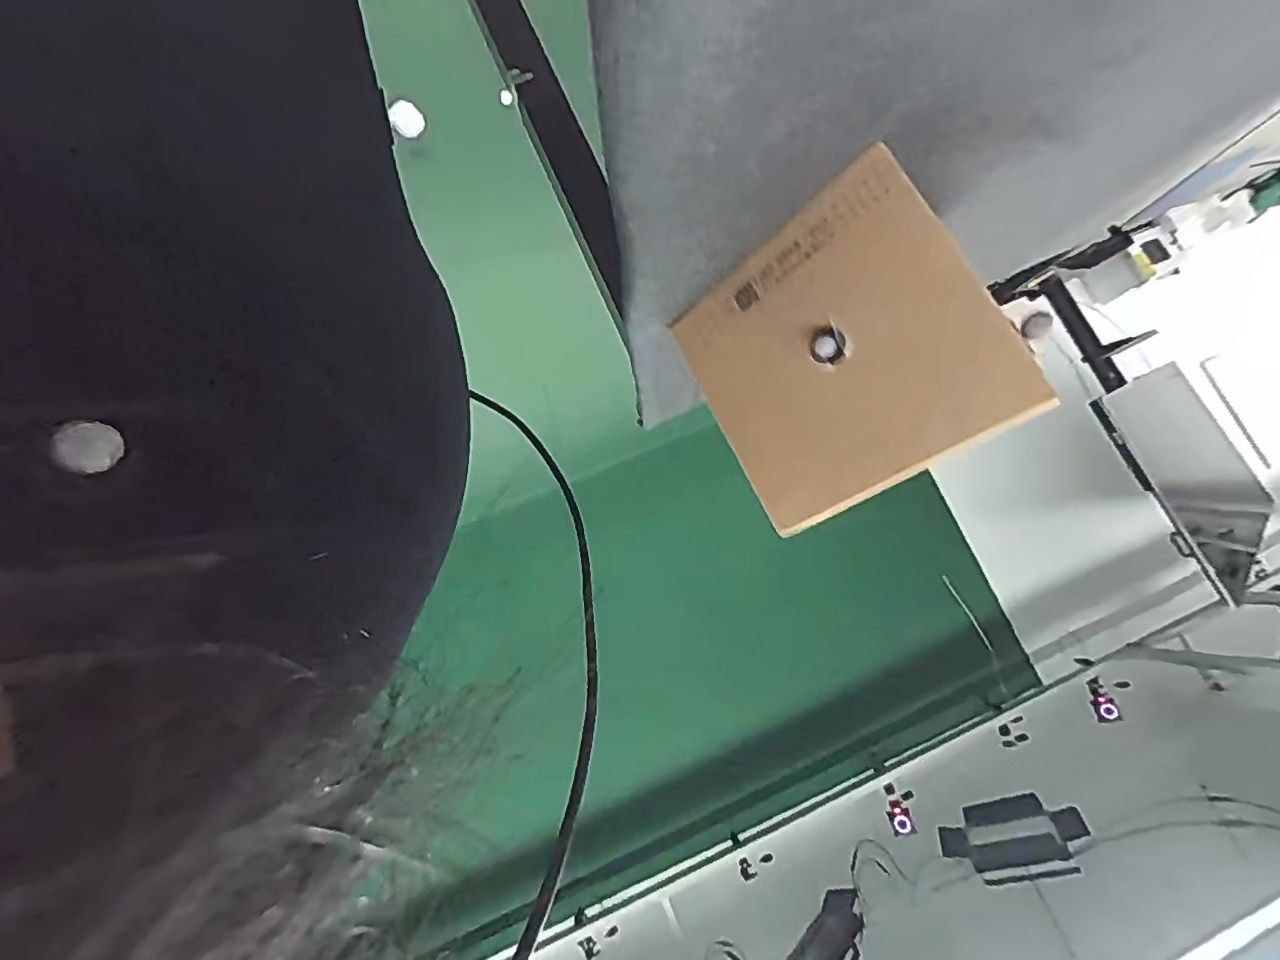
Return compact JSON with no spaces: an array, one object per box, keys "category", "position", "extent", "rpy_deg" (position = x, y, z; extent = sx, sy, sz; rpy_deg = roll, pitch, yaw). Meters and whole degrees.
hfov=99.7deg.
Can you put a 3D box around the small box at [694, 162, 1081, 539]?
[{"category":"small box","position":[0.167,-0.081,0.382],"extent":[0.168,0.176,0.179],"rpy_deg":[-34,167,36]}]
